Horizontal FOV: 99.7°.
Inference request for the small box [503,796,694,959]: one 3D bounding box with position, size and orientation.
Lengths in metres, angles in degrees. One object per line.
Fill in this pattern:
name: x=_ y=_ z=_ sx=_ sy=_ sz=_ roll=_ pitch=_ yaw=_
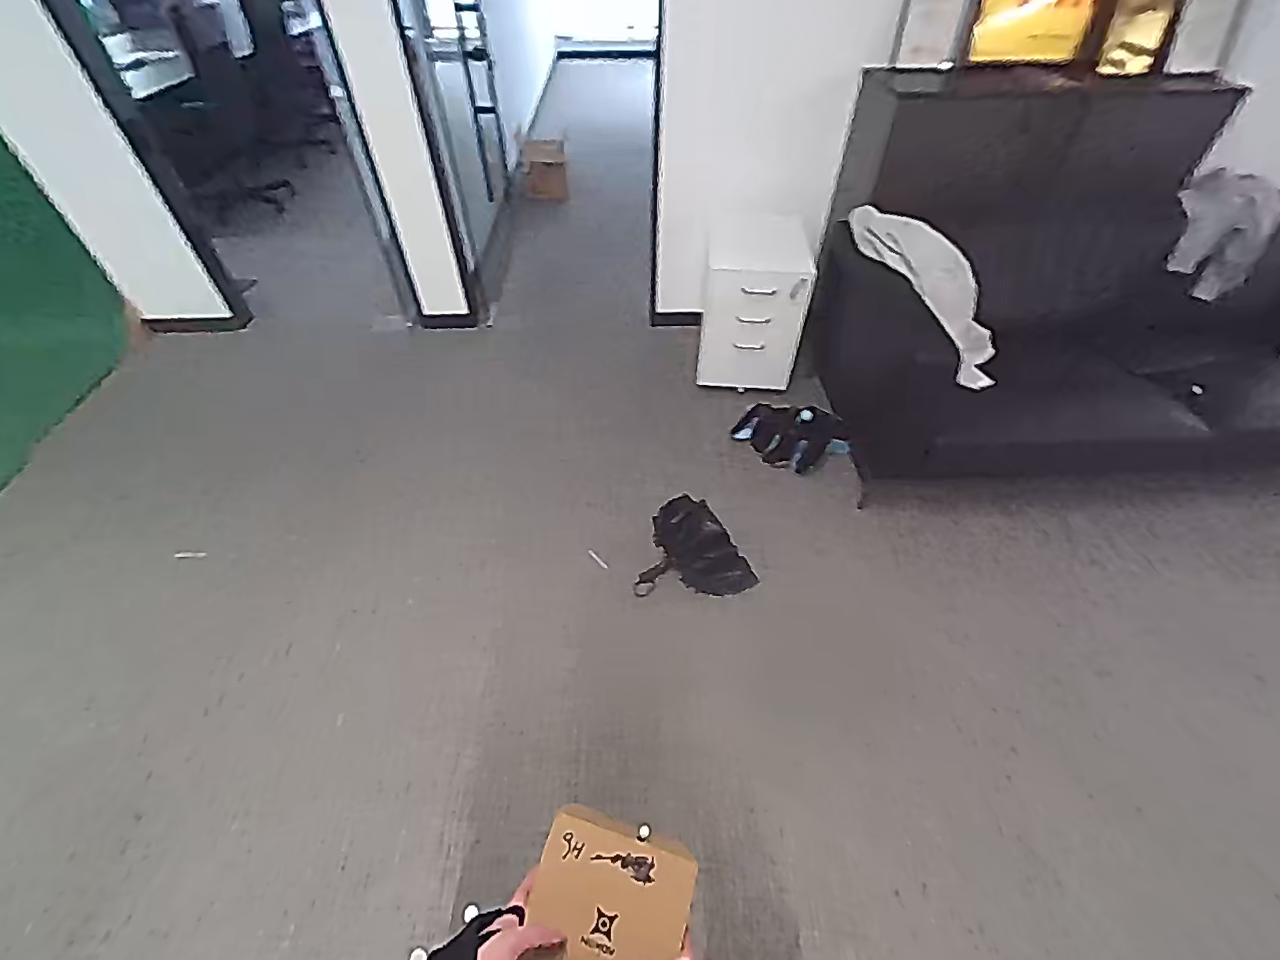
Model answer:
small box: x=-0.043 y=0.487 z=0.617 sx=0.168 sy=0.176 sz=0.179 roll=15 pitch=65 yaw=6
